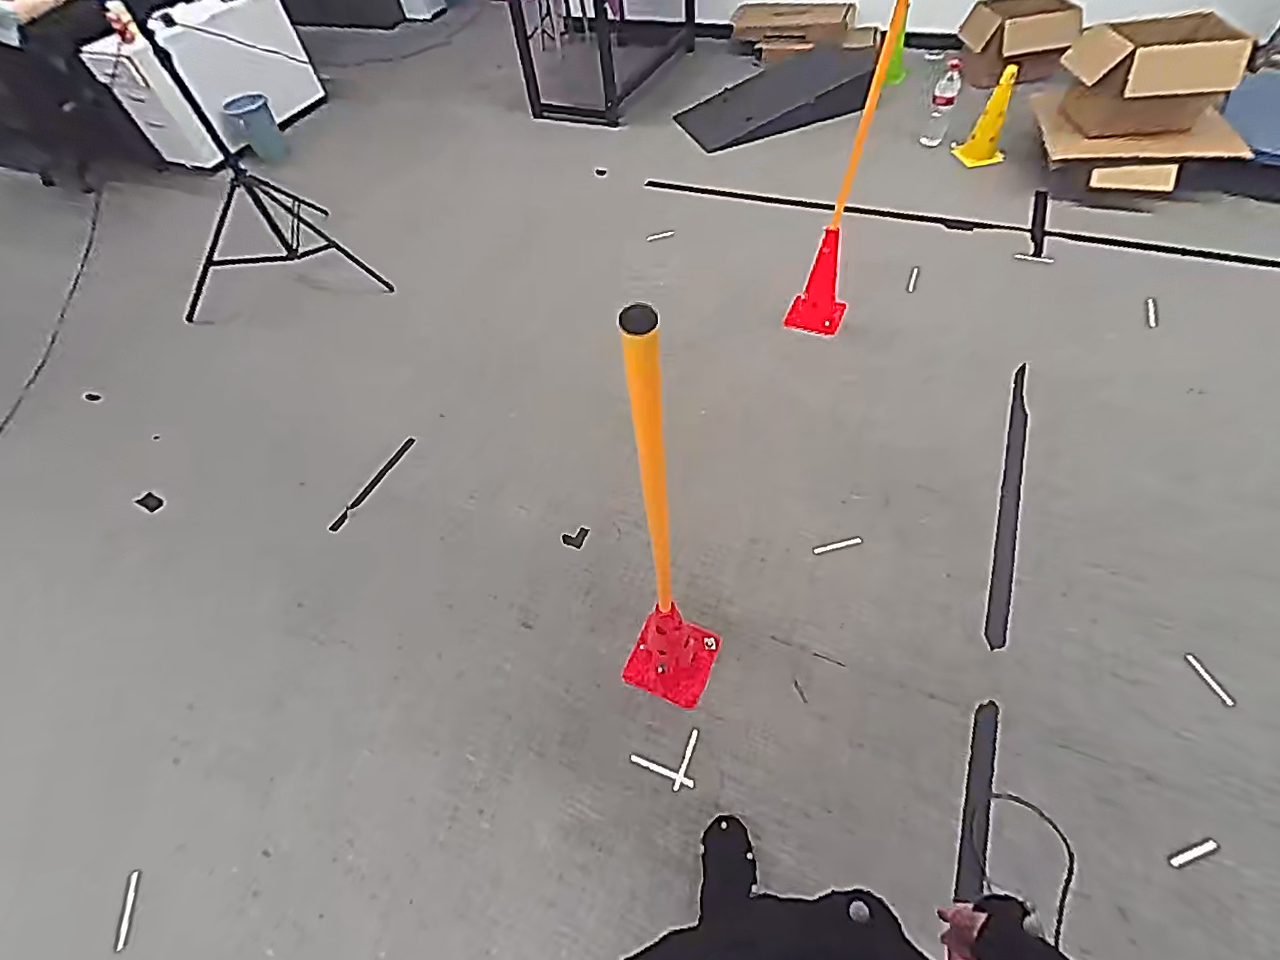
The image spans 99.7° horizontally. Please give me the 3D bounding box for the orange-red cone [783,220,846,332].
[{"bbox_3d":[0.647,-0.739,1.910,0.198,0.360,0.199,21,60,19],"label":"orange-red cone"}]
